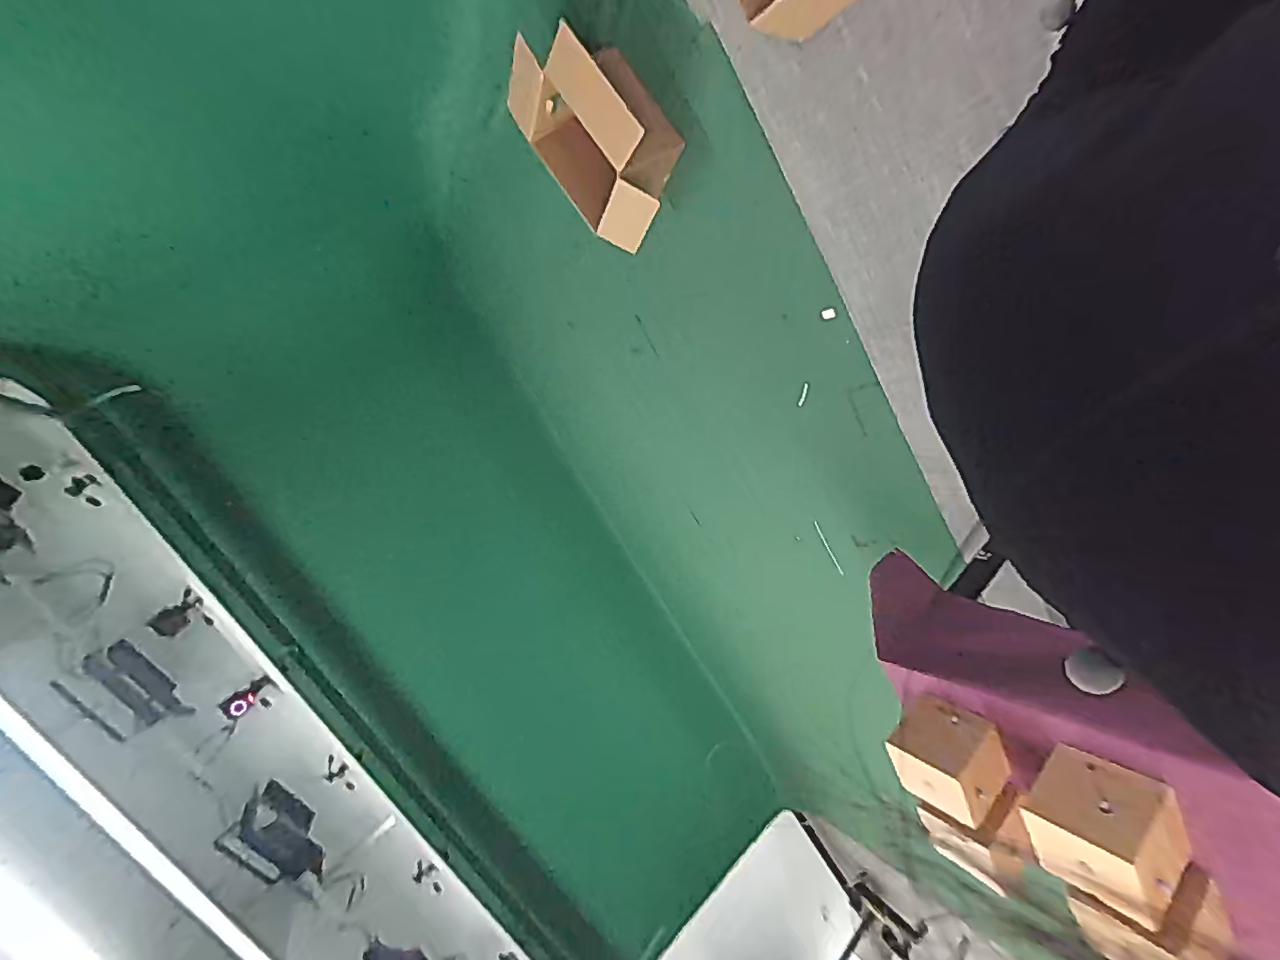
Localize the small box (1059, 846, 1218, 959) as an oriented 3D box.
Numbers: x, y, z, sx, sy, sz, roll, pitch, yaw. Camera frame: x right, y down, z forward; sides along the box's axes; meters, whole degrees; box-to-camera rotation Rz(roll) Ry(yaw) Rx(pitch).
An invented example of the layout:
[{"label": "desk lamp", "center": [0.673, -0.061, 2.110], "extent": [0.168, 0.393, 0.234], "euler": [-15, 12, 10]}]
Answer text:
[{"label": "small box", "center": [0.948, 0.792, 1.026], "extent": [0.179, 0.176, 0.168], "euler": [60, 156, -16]}]

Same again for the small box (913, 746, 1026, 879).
[{"label": "small box", "center": [0.801, 0.792, 1.303], "extent": [0.168, 0.176, 0.179], "euler": [7, 131, 58]}]

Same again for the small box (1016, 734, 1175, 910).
[{"label": "small box", "center": [0.829, 0.606, 0.984], "extent": [0.168, 0.176, 0.179], "euler": [4, 128, 60]}]
